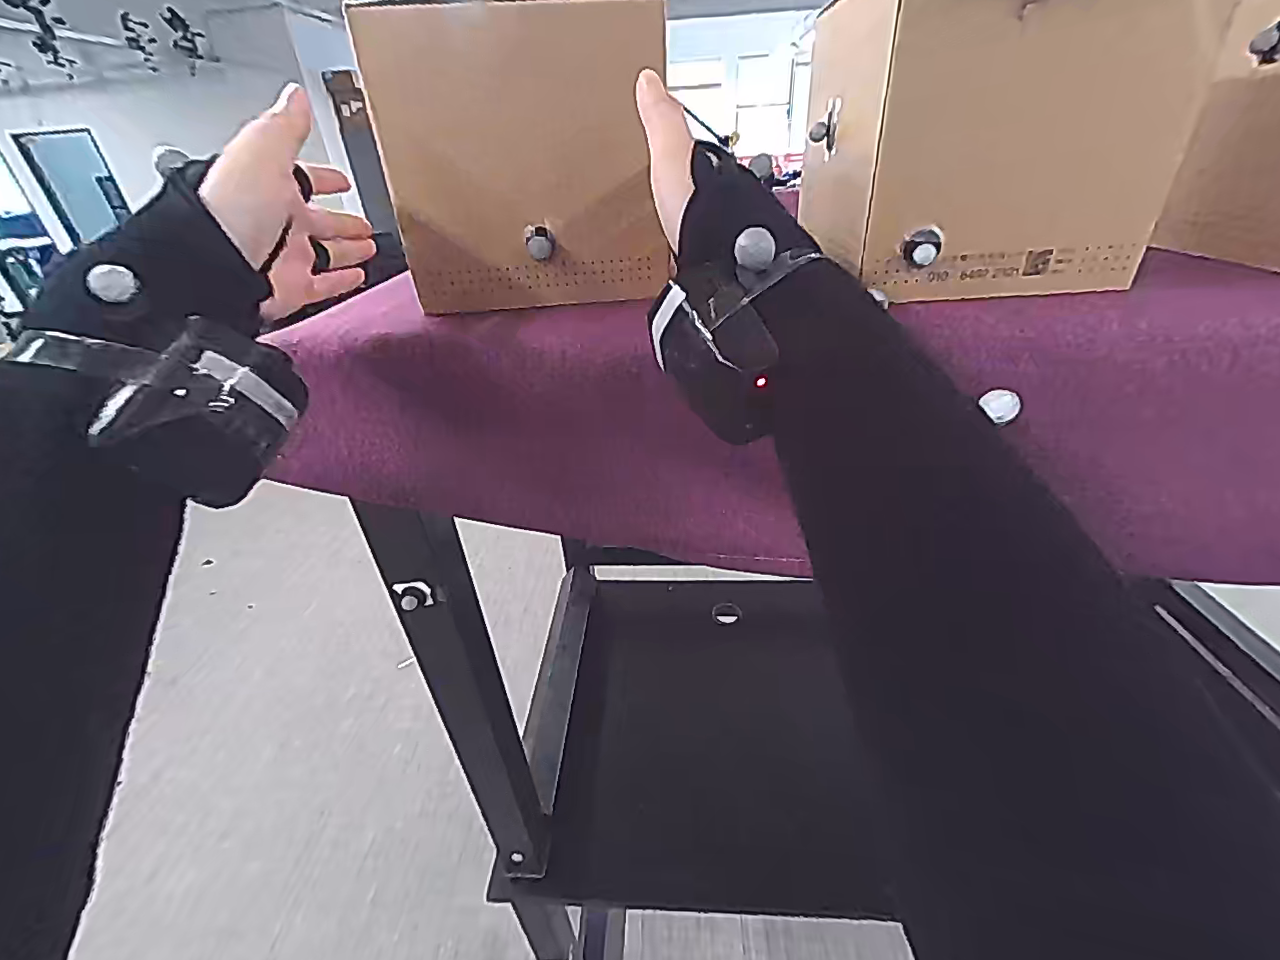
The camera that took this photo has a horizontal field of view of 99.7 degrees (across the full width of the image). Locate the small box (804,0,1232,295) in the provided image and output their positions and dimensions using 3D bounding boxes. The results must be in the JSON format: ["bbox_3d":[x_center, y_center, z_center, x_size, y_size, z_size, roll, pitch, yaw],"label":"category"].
[{"bbox_3d":[0.214,-0.223,0.357,0.168,0.176,0.179,-2,31,3],"label":"small box"}]

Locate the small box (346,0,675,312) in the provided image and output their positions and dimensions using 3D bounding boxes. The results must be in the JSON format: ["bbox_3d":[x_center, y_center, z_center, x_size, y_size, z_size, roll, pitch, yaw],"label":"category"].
[{"bbox_3d":[-0.073,-0.229,0.395,0.179,0.176,0.168,-5,31,-4],"label":"small box"}]
